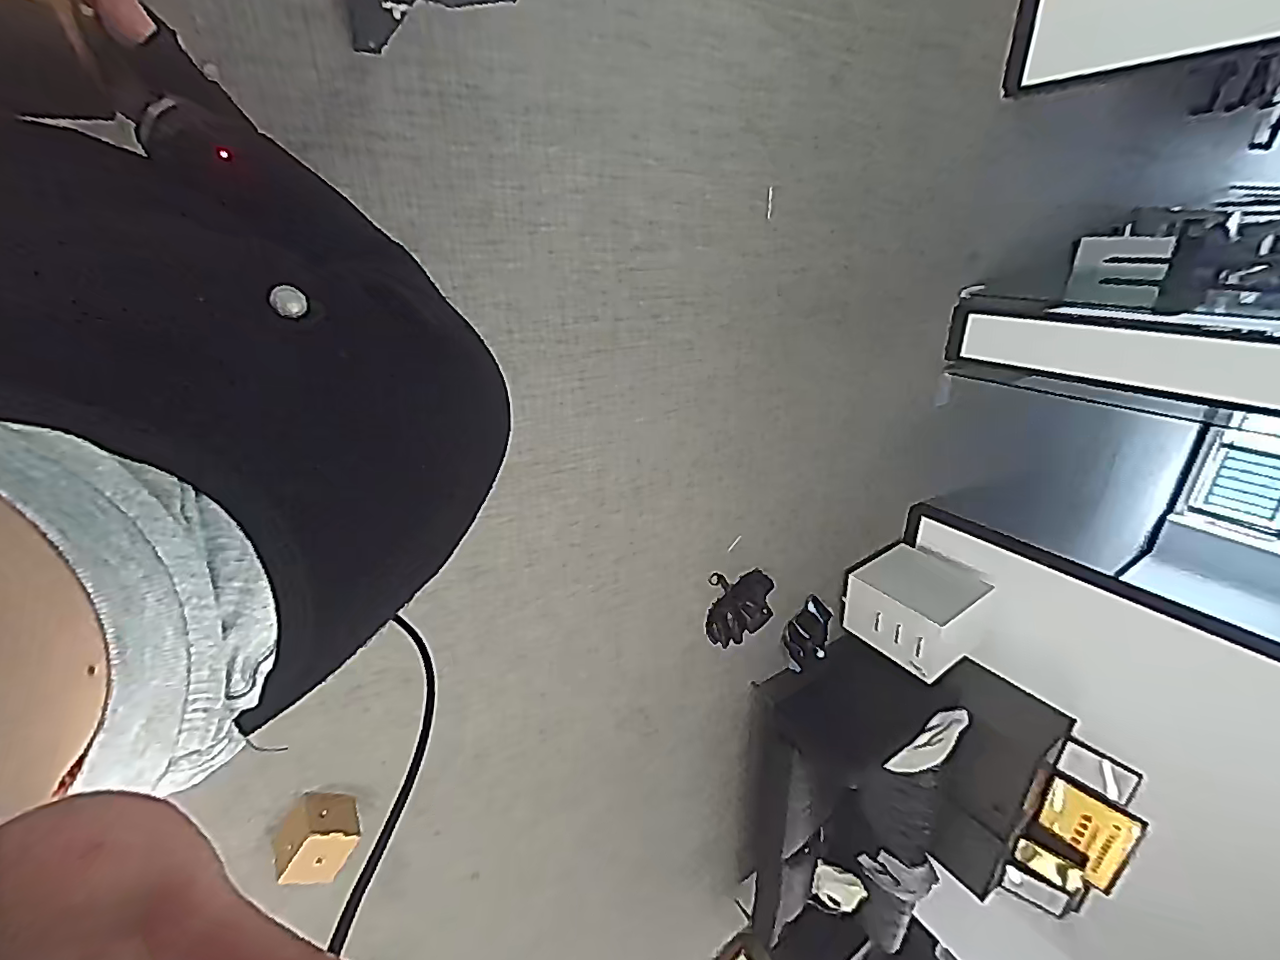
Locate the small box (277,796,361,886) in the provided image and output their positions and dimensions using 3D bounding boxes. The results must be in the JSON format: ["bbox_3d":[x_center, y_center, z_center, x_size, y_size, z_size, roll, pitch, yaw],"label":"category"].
[{"bbox_3d":[-1.023,1.135,1.712,0.168,0.176,0.179,35,88,-41],"label":"small box"}]
